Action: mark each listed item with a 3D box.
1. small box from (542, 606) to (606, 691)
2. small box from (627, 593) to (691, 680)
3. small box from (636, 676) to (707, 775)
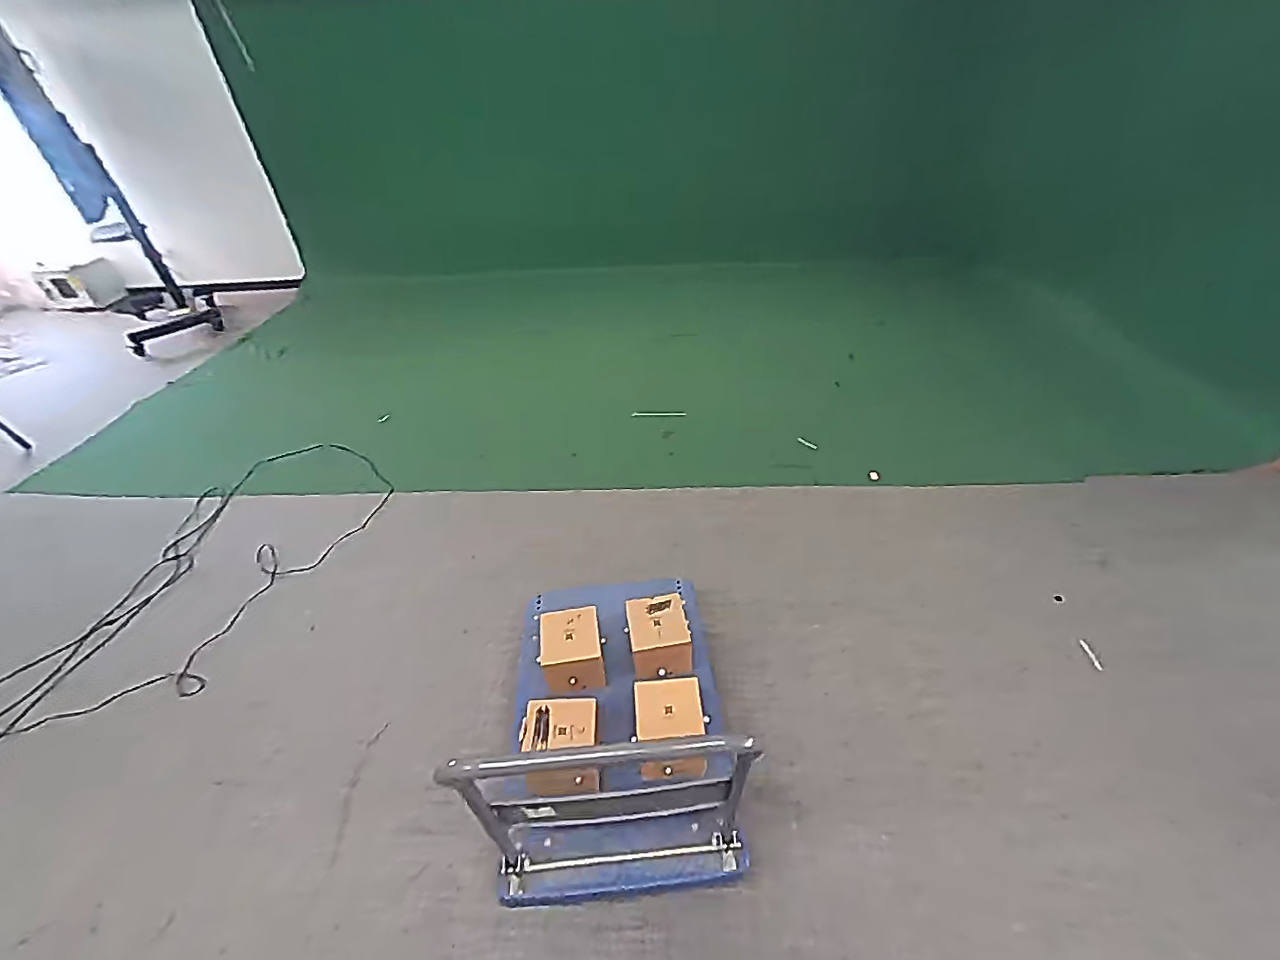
[{"bbox_3d":[-0.194,0.502,1.594,0.168,0.176,0.179,-7,39,-5],"label":"small box"},{"bbox_3d":[0.055,0.467,1.614,0.168,0.176,0.179,-8,40,-4],"label":"small box"},{"bbox_3d":[0.077,0.638,1.406,0.168,0.176,0.179,-4,40,-1],"label":"small box"}]
